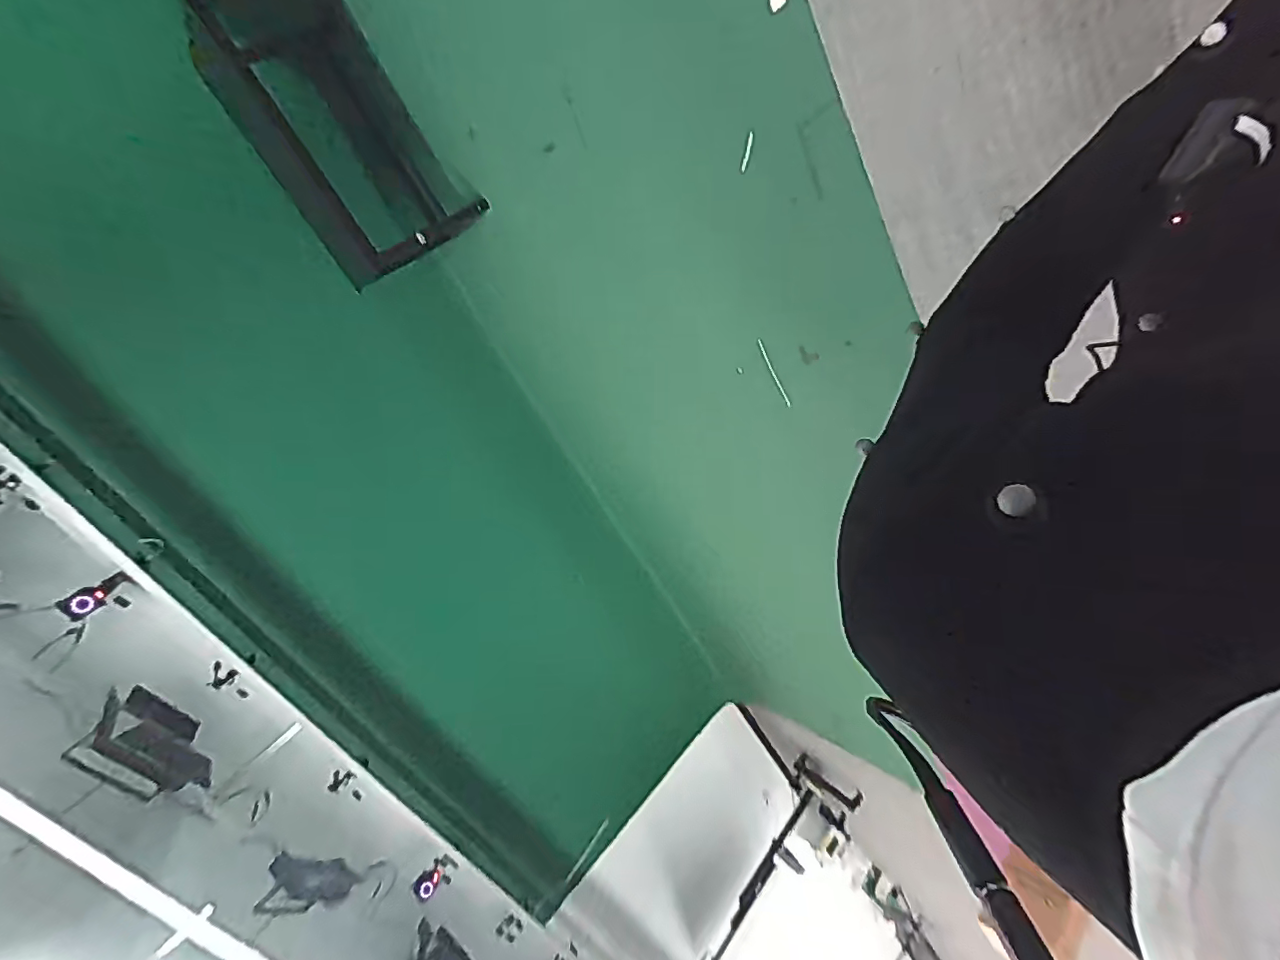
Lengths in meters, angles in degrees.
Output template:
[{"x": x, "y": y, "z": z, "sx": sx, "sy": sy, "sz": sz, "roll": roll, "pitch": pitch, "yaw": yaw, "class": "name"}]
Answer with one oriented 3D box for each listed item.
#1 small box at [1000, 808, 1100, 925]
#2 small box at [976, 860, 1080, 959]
[{"x": 1.148, "y": 1.072, "z": 1.511, "sx": 0.168, "sy": 0.176, "sz": 0.179, "roll": 4, "pitch": 132, "yaw": 56, "class": "small box"}, {"x": 1.036, "y": 1.171, "z": 1.443, "sx": 0.168, "sy": 0.176, "sz": 0.179, "roll": 3, "pitch": 132, "yaw": 57, "class": "small box"}]
